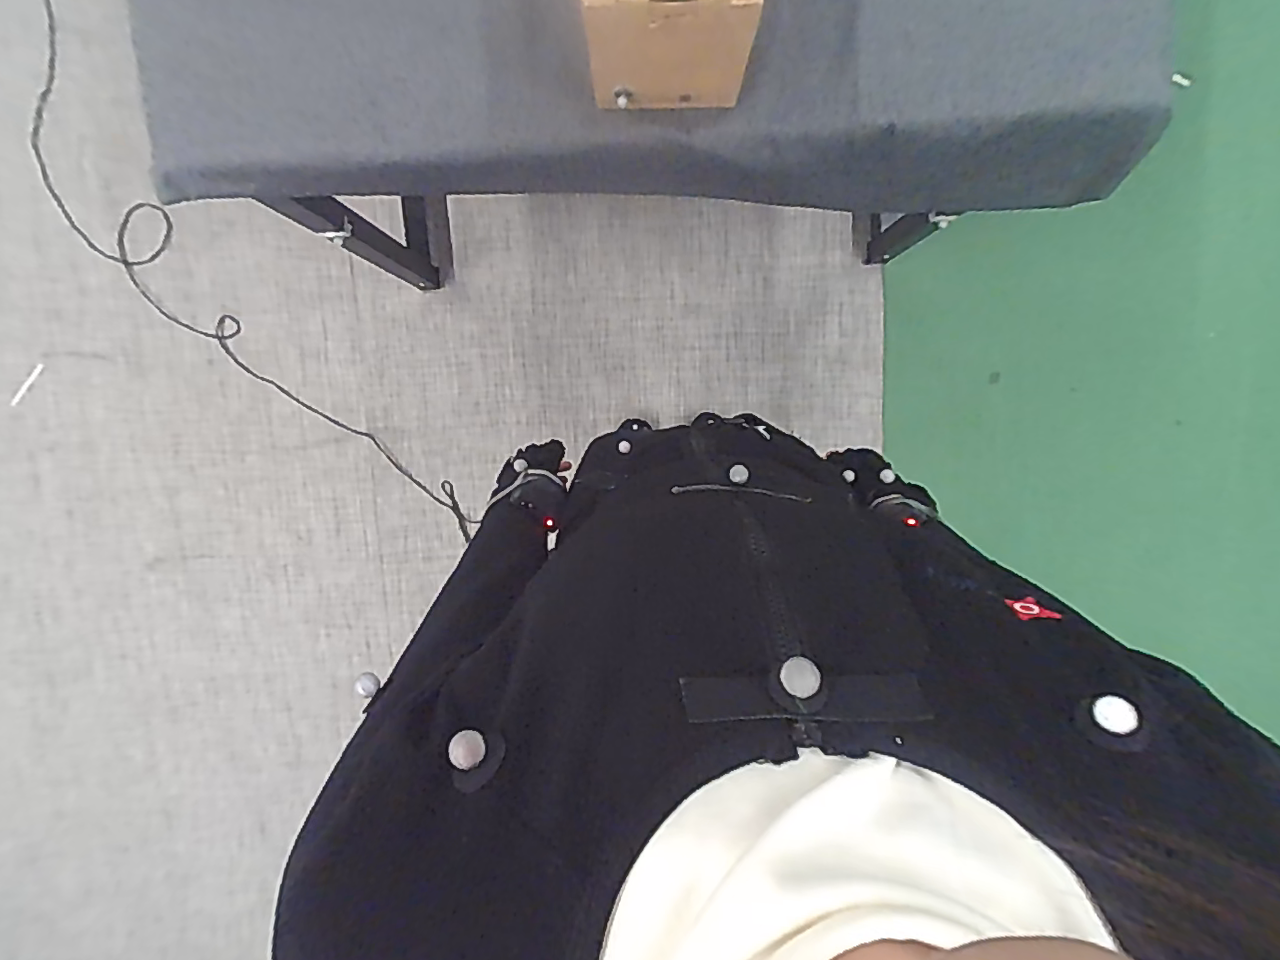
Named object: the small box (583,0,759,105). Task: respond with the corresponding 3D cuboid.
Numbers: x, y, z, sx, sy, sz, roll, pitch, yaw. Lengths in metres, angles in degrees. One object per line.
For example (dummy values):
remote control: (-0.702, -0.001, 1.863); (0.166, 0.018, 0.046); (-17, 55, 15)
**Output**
small box: (0.031, -0.524, 0.560); (0.168, 0.176, 0.179); (1, 96, 0)
